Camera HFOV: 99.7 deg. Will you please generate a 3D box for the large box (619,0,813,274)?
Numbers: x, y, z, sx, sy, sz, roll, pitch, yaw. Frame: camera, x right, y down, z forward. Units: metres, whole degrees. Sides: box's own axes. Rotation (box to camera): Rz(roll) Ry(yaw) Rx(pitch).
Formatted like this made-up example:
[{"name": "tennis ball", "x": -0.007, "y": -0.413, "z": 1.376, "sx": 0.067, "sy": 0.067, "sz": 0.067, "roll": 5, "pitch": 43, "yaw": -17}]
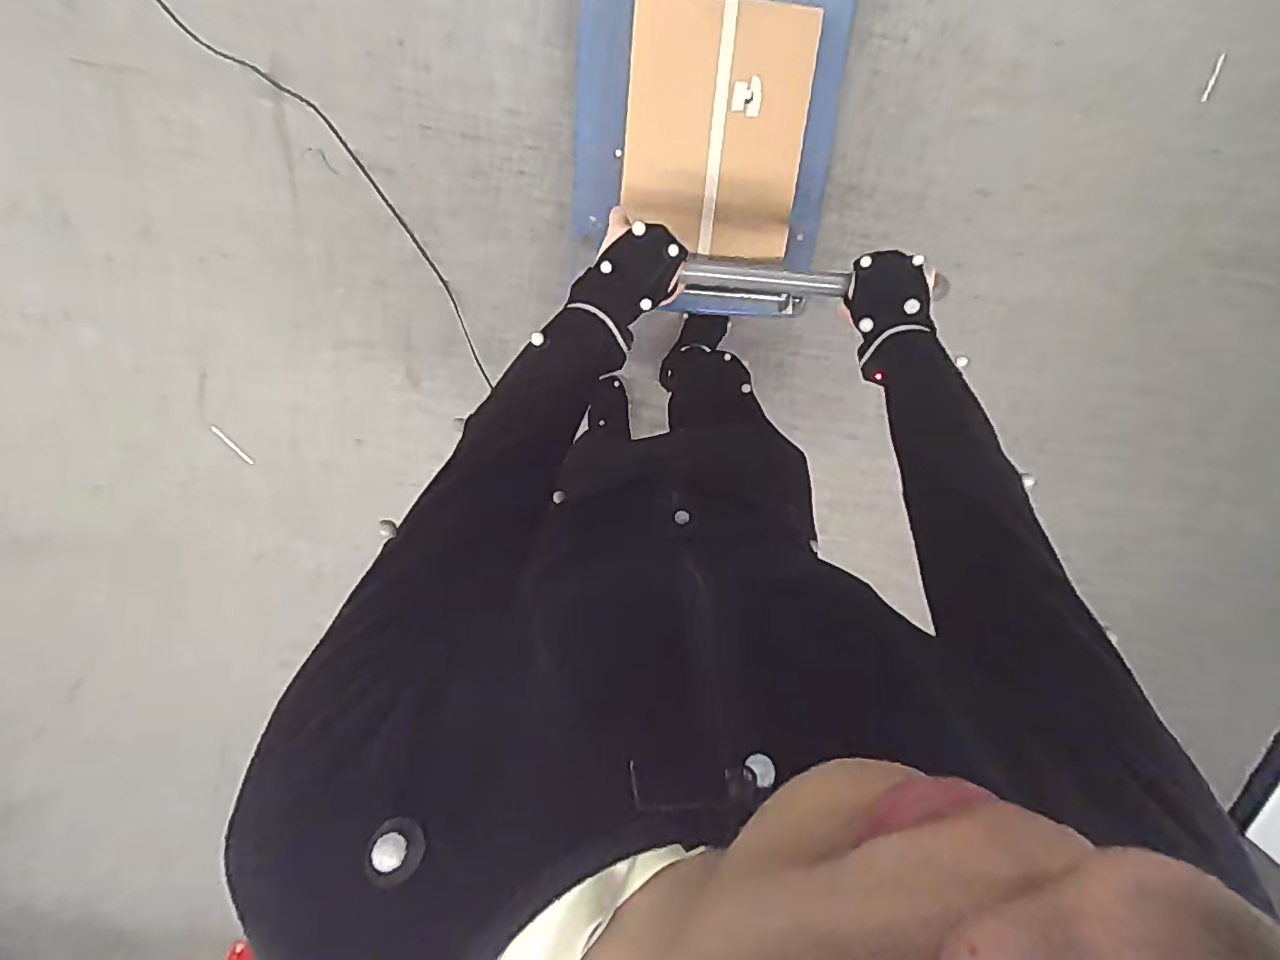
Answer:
[{"name": "large box", "x": 0.123, "y": -0.648, "z": 1.099, "sx": 0.320, "sy": 0.320, "sz": 0.408, "roll": 4, "pitch": 107, "yaw": -4}]
